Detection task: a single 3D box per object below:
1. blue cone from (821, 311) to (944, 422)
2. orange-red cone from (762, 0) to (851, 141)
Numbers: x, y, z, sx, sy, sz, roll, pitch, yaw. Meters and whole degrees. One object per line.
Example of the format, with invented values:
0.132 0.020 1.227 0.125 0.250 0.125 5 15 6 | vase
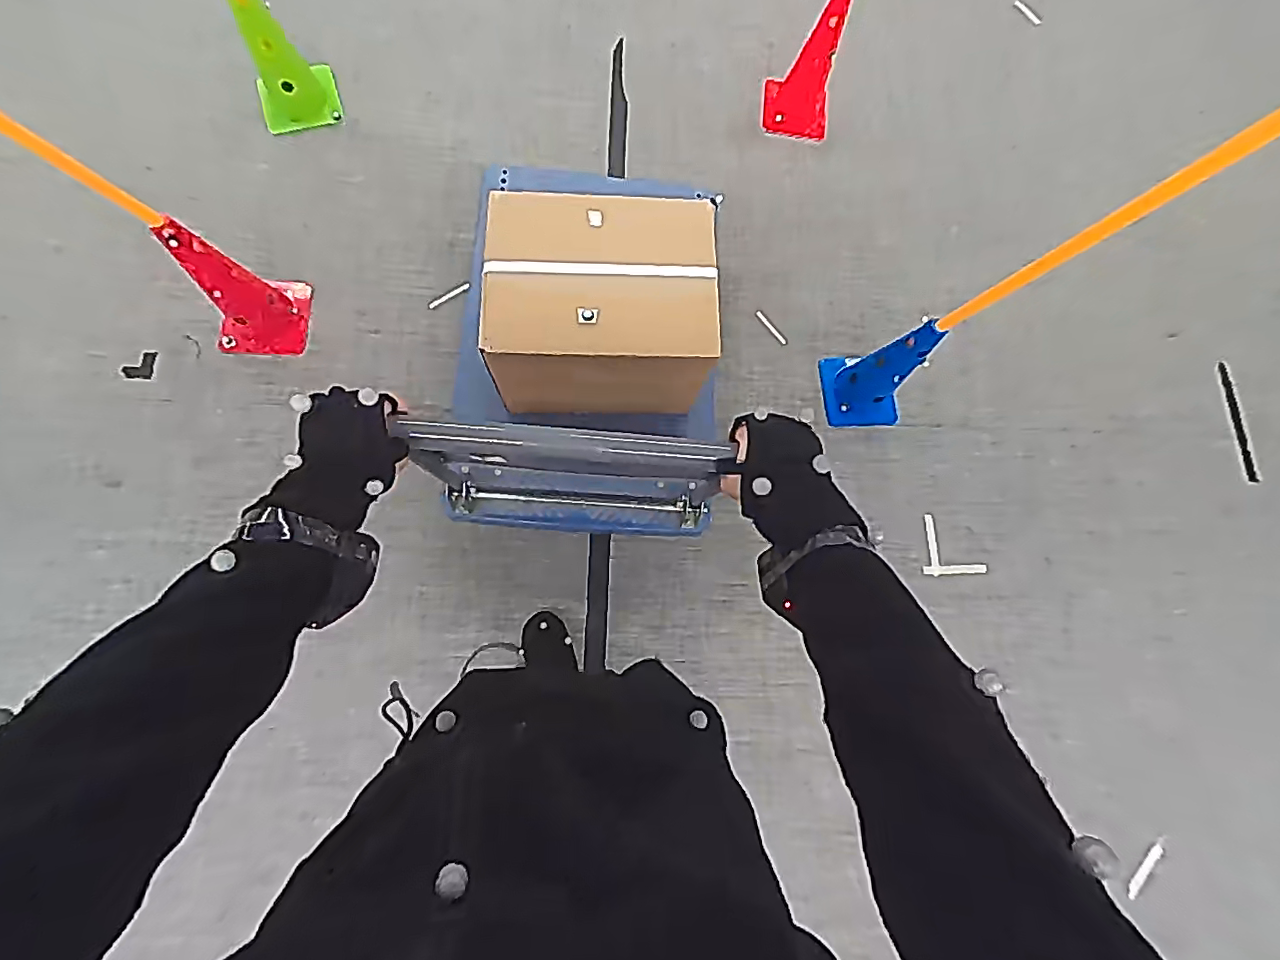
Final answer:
0.612 -0.288 1.321 0.193 0.380 0.192 -2 76 -6 | blue cone
0.497 -1.174 1.497 0.199 0.360 0.198 8 77 -5 | orange-red cone
